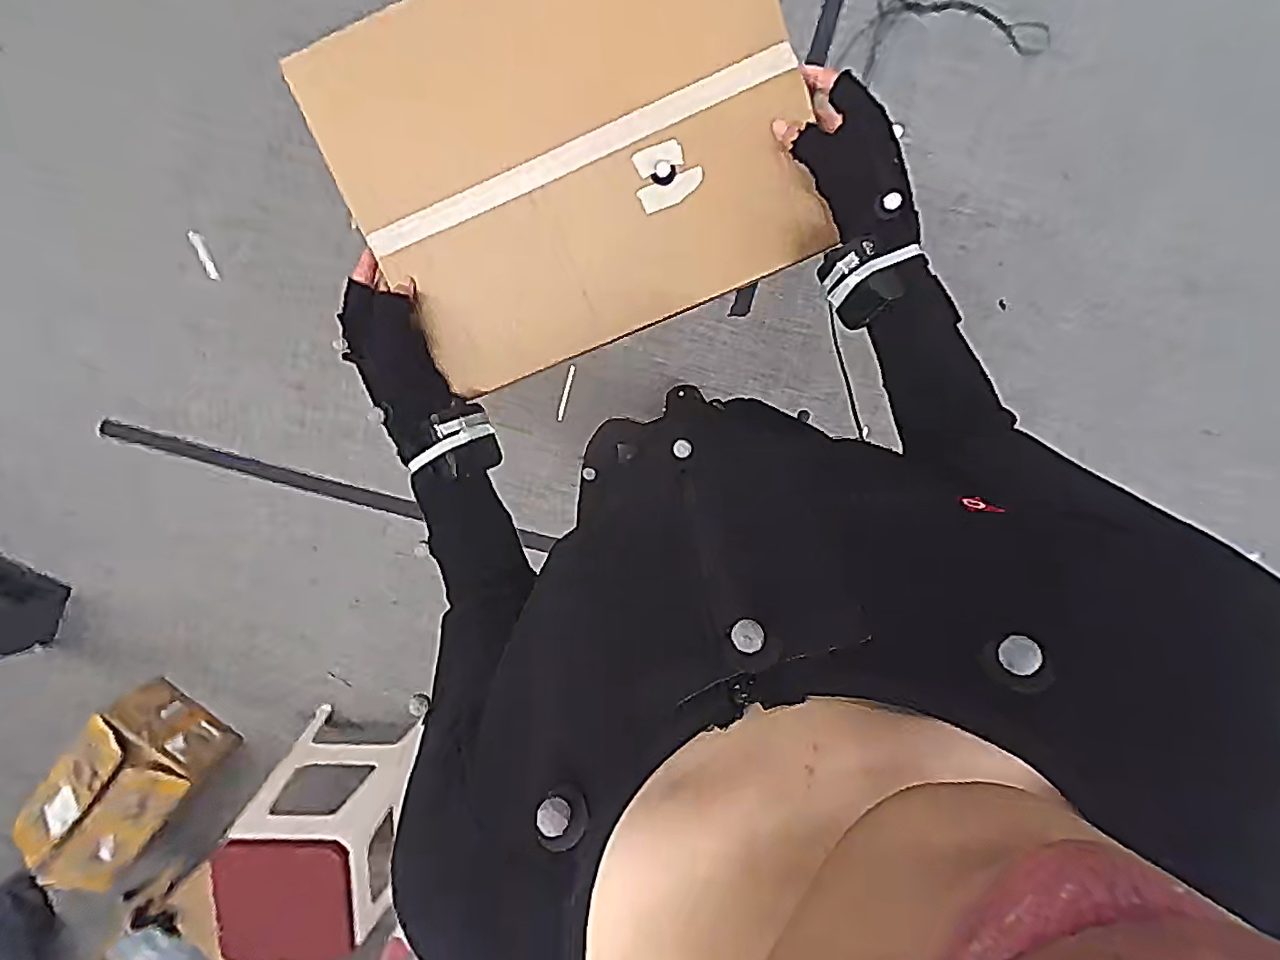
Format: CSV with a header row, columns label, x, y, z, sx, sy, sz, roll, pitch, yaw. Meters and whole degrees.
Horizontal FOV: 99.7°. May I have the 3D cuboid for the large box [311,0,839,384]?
label,x,y,z,sx,sy,sz,roll,pitch,yaw
large box,-0.053,-0.336,0.630,0.408,0.320,0.320,-20,105,4
